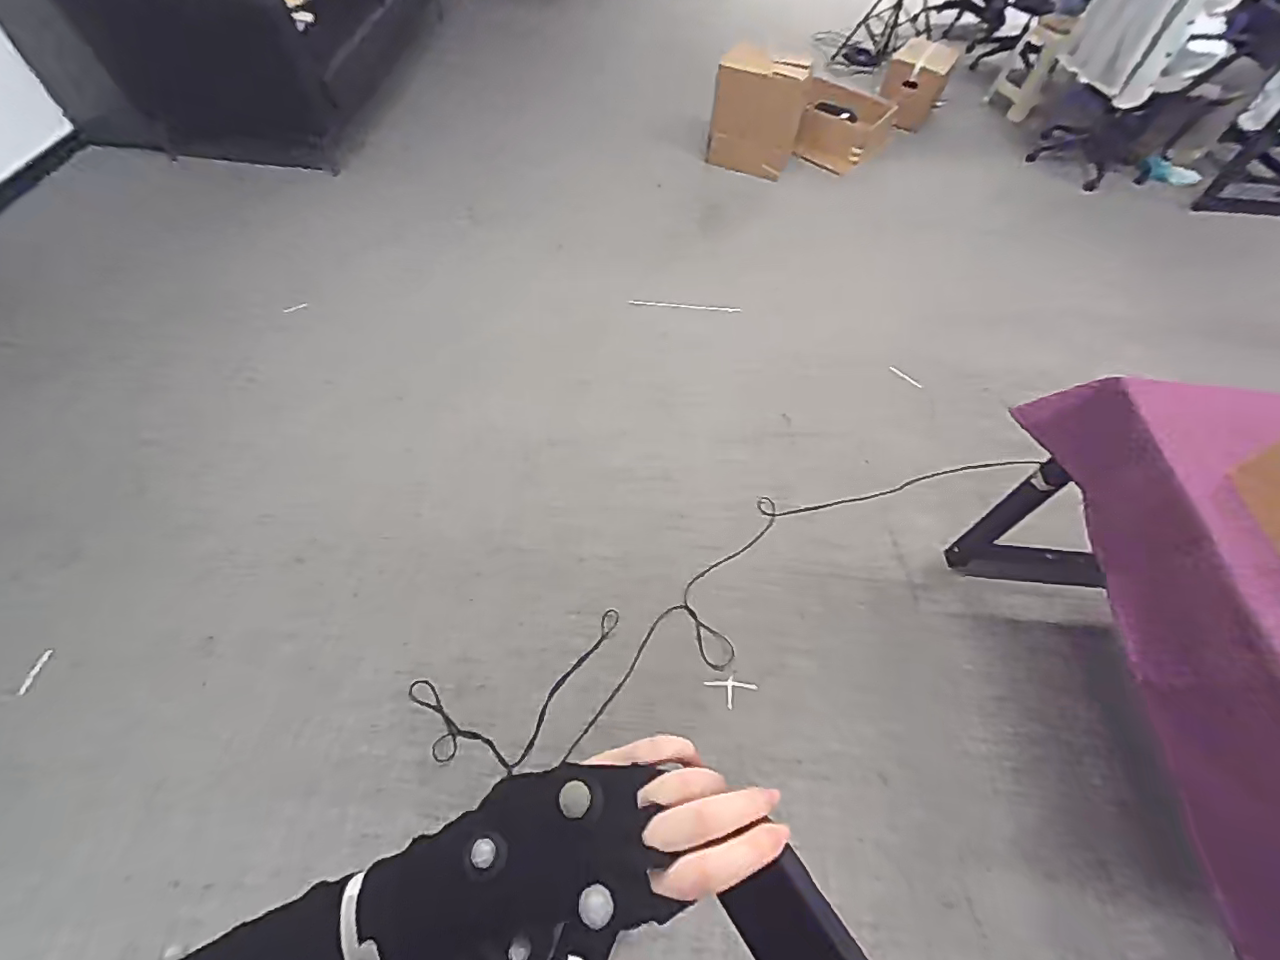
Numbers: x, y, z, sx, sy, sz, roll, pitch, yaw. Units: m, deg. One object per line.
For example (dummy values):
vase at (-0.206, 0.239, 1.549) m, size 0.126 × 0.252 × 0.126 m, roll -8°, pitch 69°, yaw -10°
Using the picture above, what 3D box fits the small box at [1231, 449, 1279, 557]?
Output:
small box at (1.120, 0.029, 0.852) m, size 0.168 × 0.176 × 0.179 m, roll 7°, pitch 57°, yaw 1°
